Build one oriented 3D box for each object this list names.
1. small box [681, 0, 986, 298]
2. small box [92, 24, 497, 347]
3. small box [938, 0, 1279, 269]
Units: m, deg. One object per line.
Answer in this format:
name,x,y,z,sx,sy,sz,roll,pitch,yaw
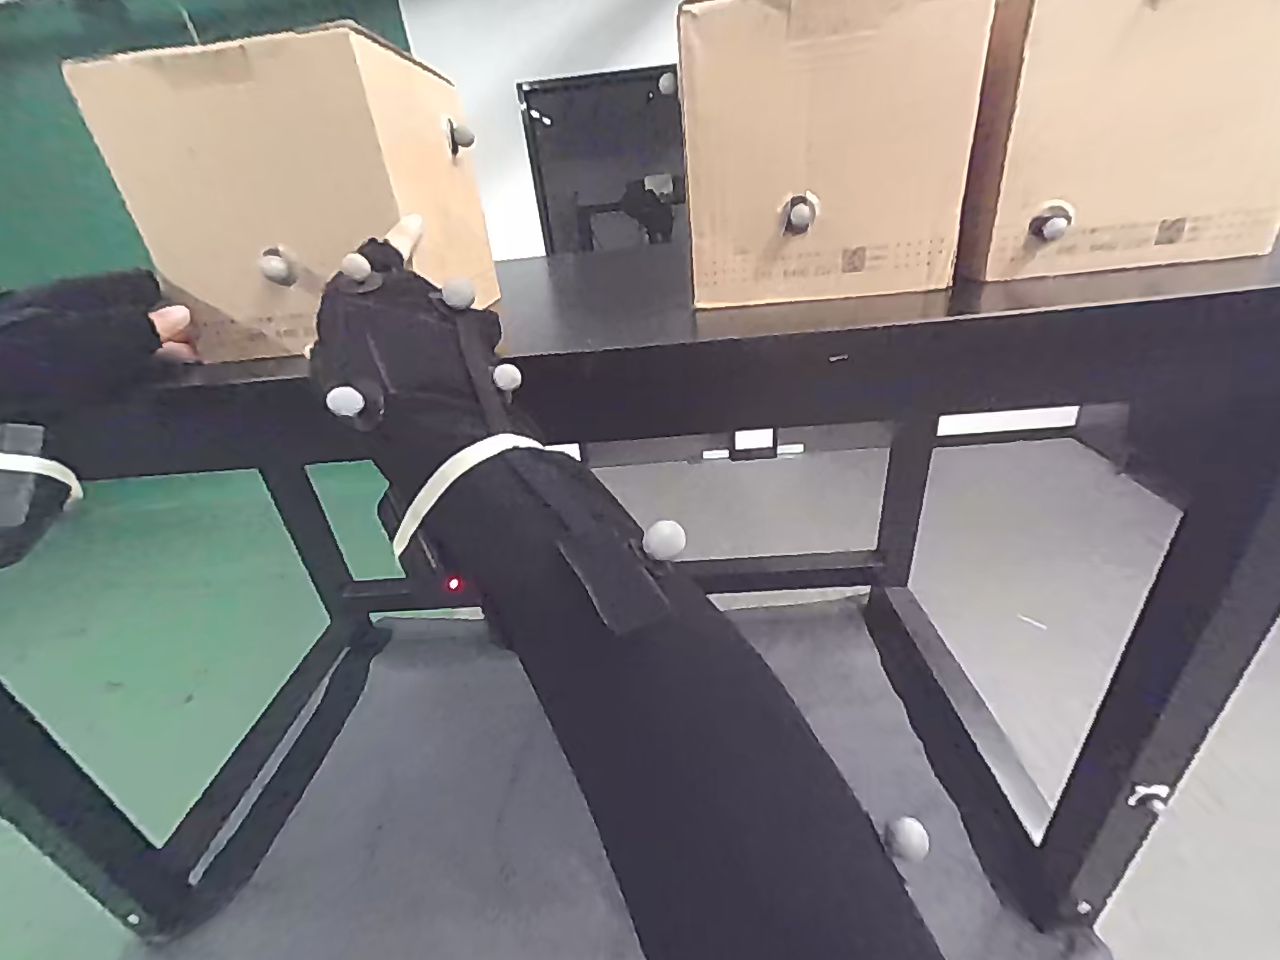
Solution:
small box,0.119,-0.236,0.402,0.168,0.176,0.179,-2,28,8
small box,-0.219,-0.204,0.407,0.168,0.176,0.179,-5,27,4
small box,0.300,-0.249,0.383,0.168,0.176,0.179,-3,26,7
